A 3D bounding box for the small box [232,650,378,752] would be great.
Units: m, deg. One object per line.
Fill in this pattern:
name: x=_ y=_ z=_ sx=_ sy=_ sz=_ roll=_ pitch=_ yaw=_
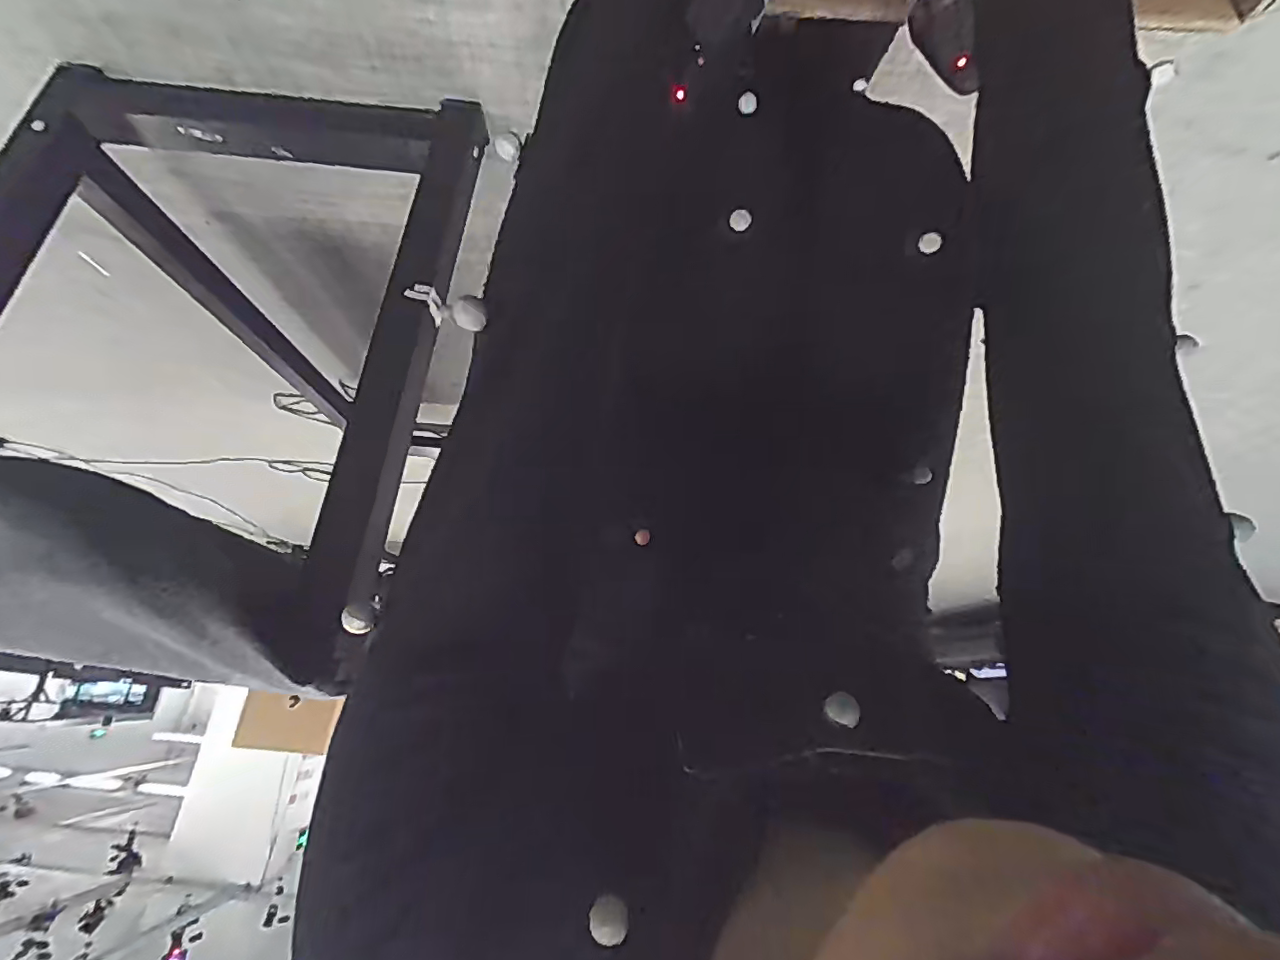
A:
small box: x=-0.650 y=0.432 z=1.072 sx=0.168 sy=0.176 sz=0.179 roll=7 pitch=160 yaw=-2
